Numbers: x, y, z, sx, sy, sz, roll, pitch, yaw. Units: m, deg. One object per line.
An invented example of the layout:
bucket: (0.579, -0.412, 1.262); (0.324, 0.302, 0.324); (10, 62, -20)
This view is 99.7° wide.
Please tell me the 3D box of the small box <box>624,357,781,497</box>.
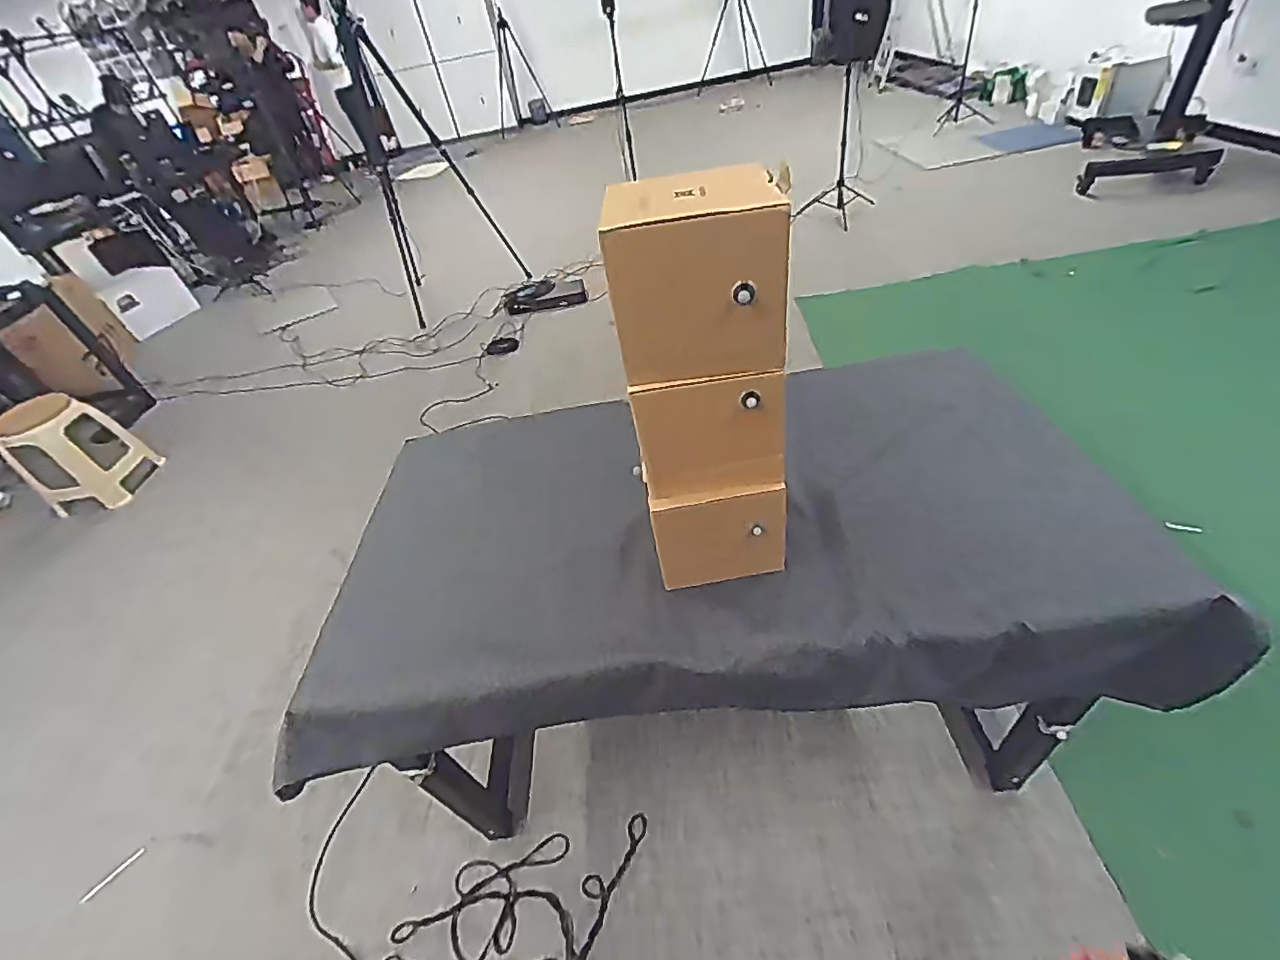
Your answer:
small box: (0.078, -0.094, 0.697); (0.179, 0.176, 0.168); (-8, 41, 3)

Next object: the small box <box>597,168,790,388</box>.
small box: (0.058, -0.218, 0.594); (0.179, 0.176, 0.168); (-7, 40, 6)
